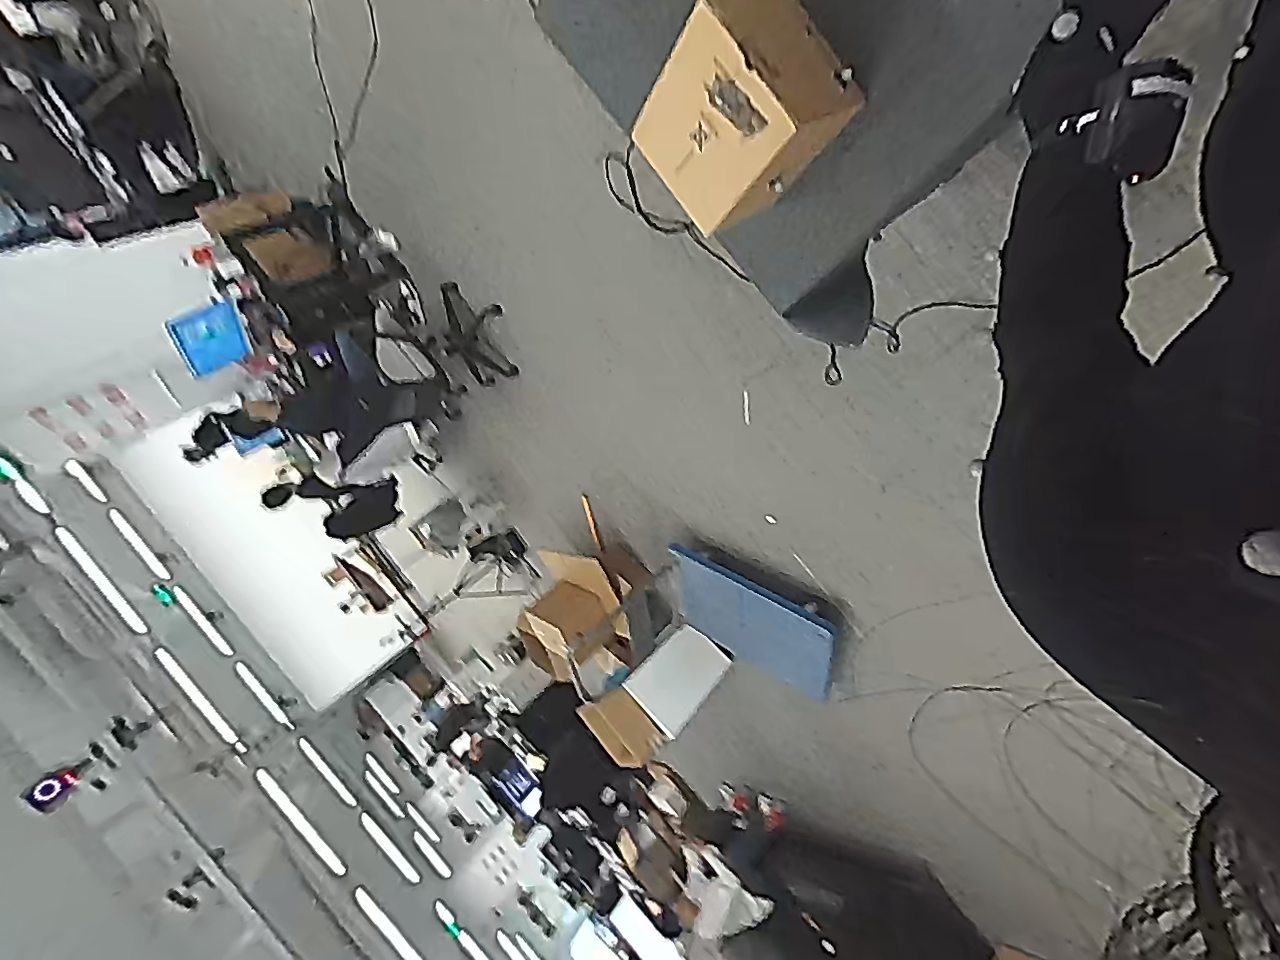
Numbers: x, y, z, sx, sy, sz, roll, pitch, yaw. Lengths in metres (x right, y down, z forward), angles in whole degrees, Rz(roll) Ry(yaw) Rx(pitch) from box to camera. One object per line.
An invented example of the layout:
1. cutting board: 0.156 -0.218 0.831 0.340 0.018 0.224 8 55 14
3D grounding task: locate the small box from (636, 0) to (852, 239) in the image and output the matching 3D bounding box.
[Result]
1. small box: 0.133 -0.445 0.669 0.168 0.176 0.179 52 148 -3
